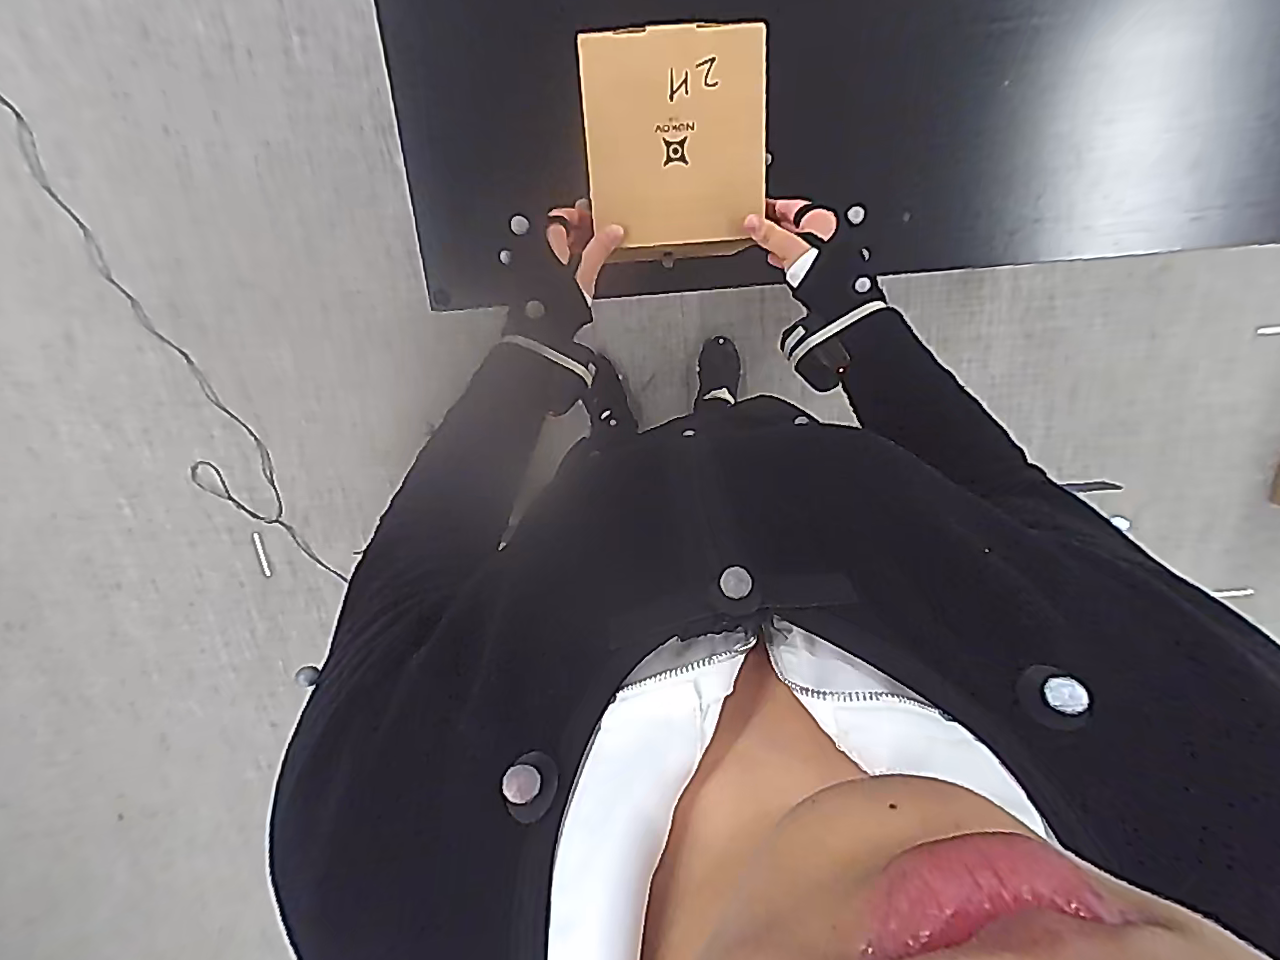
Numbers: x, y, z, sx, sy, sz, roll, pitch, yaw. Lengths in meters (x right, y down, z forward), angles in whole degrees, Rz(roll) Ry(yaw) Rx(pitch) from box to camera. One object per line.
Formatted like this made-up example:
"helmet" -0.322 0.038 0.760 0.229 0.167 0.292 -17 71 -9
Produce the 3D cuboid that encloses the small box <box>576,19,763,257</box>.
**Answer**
"small box" 0.030 -0.335 0.569 0.168 0.176 0.179 -4 107 0
